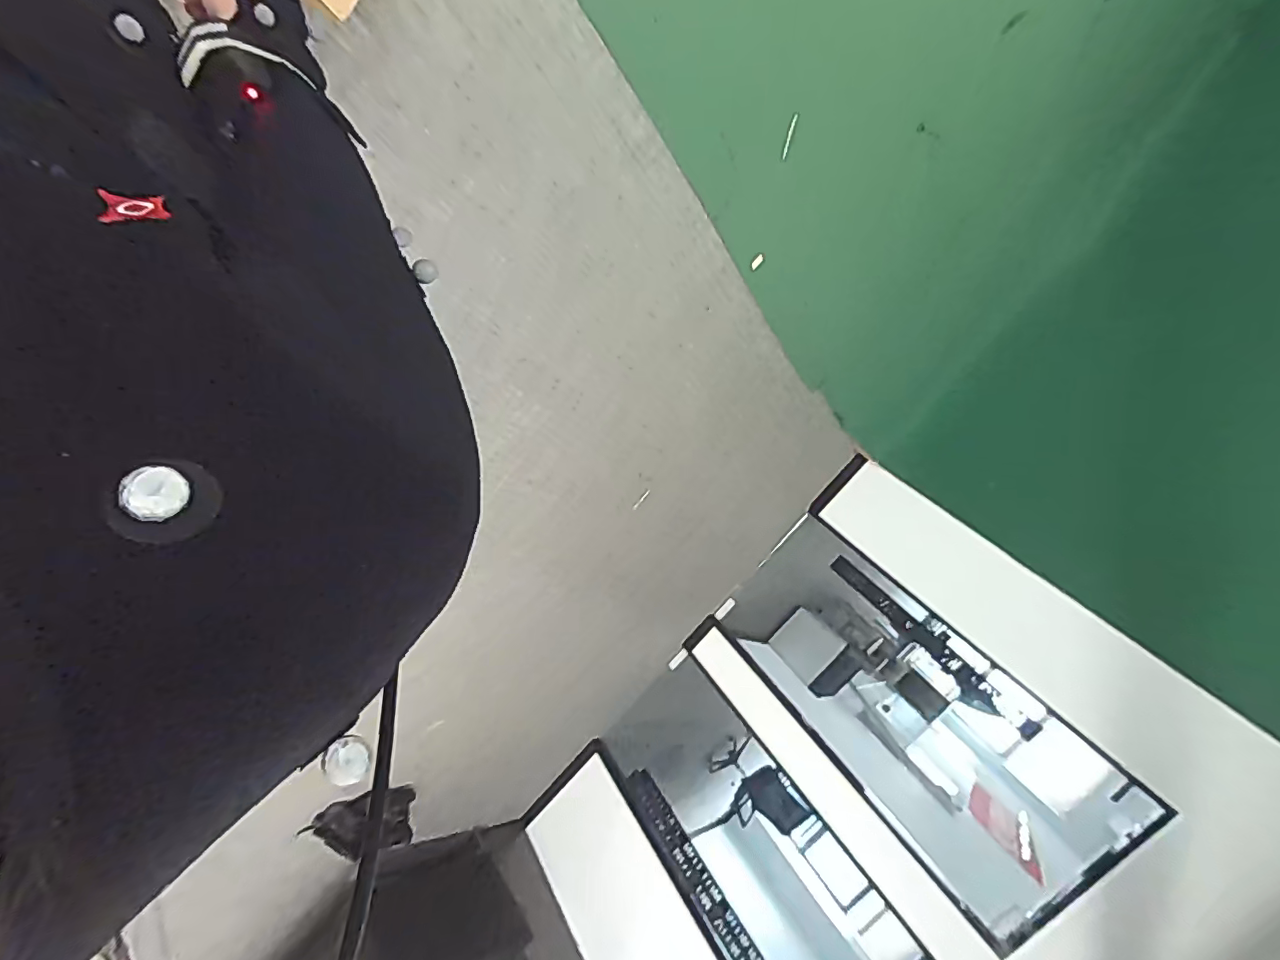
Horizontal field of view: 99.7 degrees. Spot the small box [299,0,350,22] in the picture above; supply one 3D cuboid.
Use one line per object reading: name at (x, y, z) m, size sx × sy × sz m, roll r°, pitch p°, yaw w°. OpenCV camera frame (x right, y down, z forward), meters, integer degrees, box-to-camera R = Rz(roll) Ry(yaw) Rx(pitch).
small box at (-0.504, -0.843, 0.810) m, size 0.179 × 0.176 × 0.168 m, roll -48°, pitch 144°, yaw 8°
